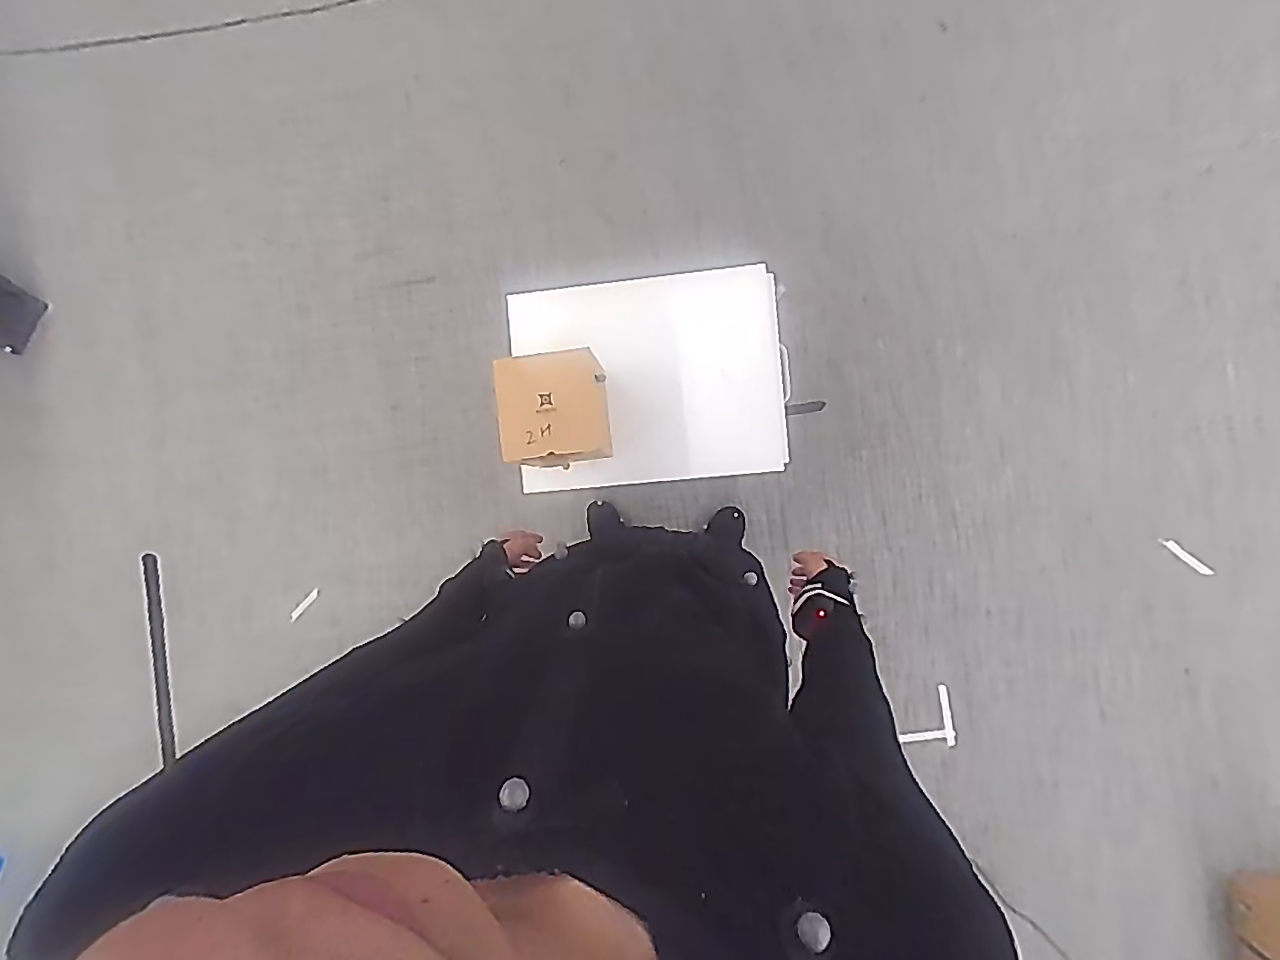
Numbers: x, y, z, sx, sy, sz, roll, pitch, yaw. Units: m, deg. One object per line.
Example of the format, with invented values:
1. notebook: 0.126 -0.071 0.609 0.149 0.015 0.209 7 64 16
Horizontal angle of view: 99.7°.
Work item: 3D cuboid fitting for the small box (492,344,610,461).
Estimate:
1. small box: -0.151 -0.130 0.967 0.168 0.176 0.179 -6 90 5
